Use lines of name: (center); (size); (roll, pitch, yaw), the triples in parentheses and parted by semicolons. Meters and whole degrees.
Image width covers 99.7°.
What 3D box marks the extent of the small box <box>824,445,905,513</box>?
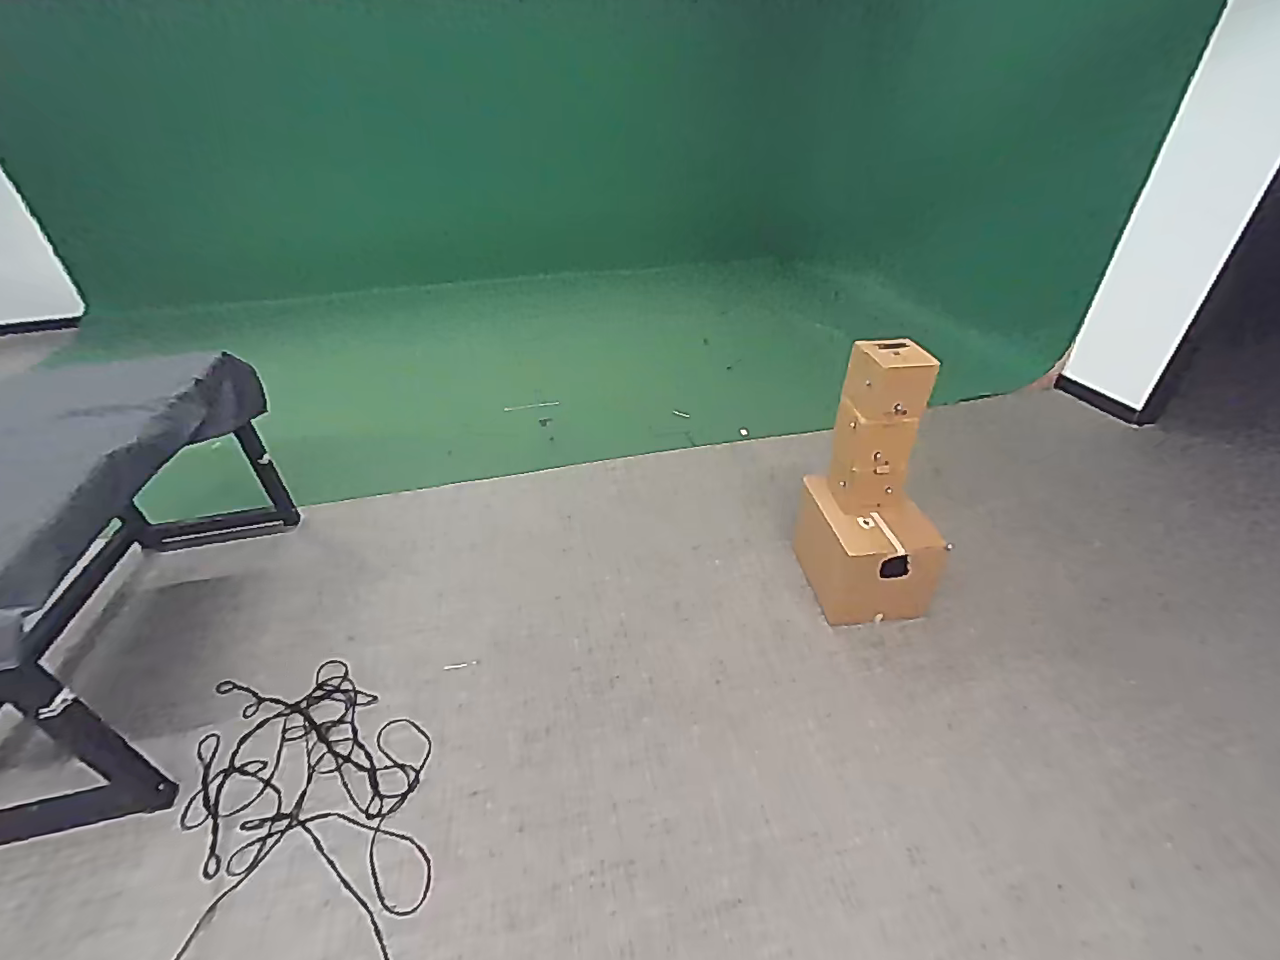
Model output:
small box: (0.707, -0.006, 1.723); (0.168, 0.176, 0.179); (-4, 35, -5)

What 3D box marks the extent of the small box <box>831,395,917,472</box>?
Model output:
small box: (0.695, -0.142, 1.634); (0.168, 0.176, 0.179); (-3, 36, -3)

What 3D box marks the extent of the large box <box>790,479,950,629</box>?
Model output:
large box: (0.735, 0.229, 1.809); (0.320, 0.320, 0.408); (-6, 37, -4)
